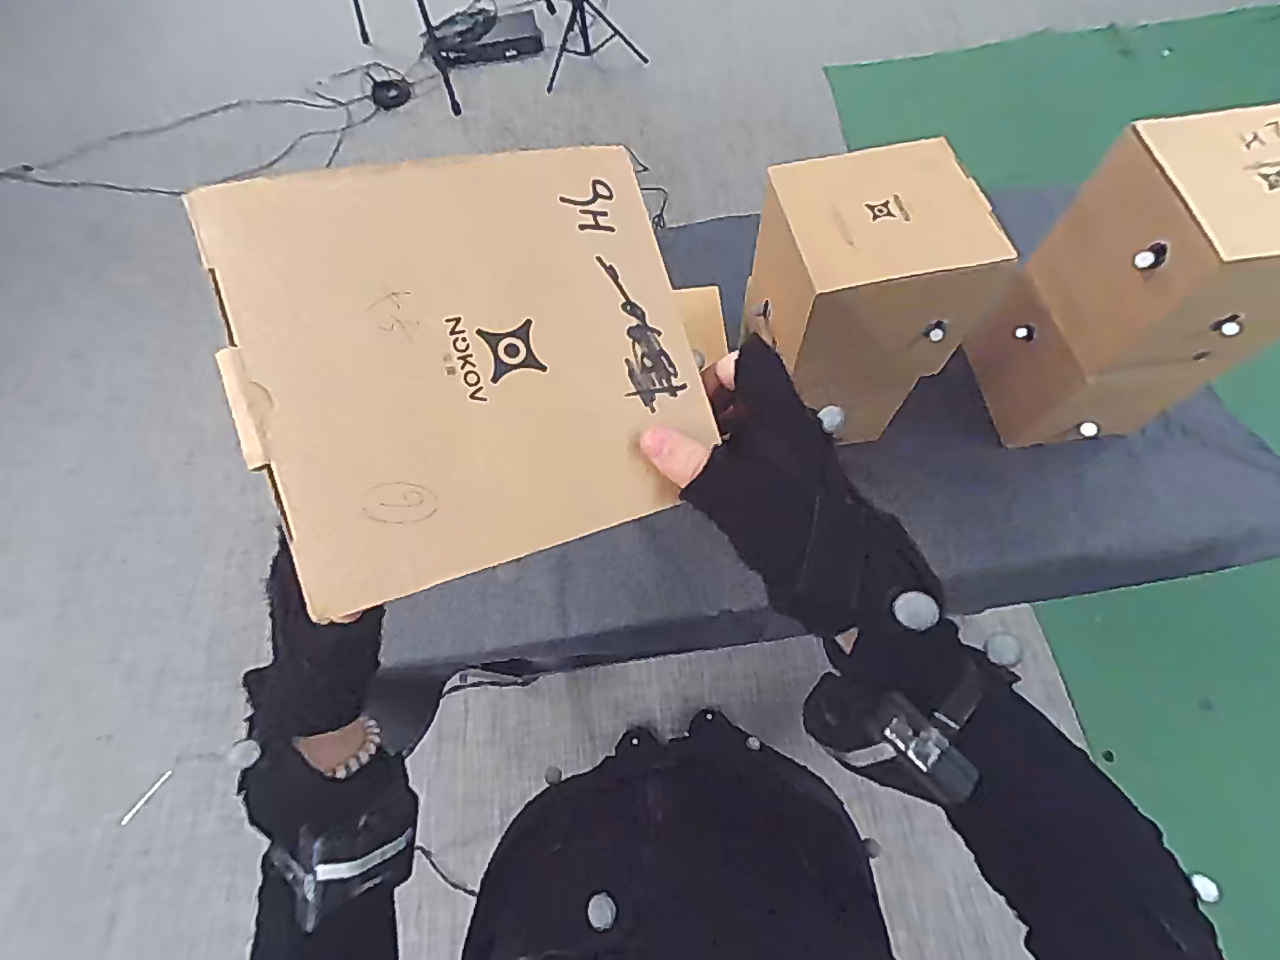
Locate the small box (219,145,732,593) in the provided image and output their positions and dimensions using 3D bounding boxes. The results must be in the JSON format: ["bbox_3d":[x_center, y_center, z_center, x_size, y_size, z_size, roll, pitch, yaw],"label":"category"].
[{"bbox_3d":[-0.079,-0.045,0.303,0.179,0.176,0.168,-16,88,-16],"label":"small box"}]

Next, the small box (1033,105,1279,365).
[{"bbox_3d":[0.548,-0.231,0.543,0.168,0.176,0.179,-6,66,2],"label":"small box"}]

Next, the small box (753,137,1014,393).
[{"bbox_3d":[0.228,-0.212,0.563,0.179,0.176,0.168,-10,65,1],"label":"small box"}]
